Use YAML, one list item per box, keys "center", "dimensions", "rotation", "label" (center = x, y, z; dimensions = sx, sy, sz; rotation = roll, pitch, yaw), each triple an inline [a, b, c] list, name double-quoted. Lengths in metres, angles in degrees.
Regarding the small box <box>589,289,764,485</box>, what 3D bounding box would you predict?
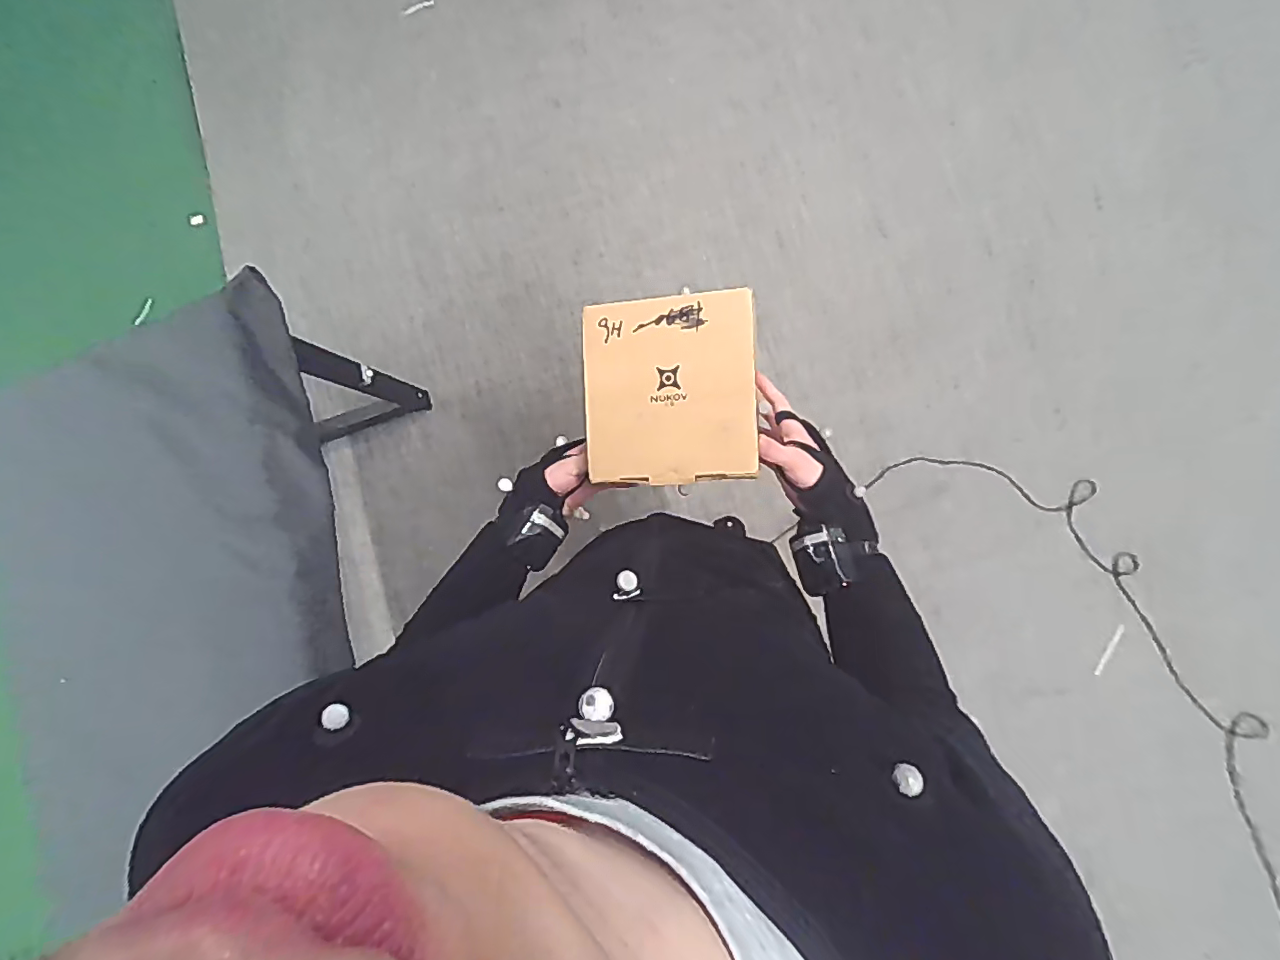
- center: [0.049, -0.087, 0.587]
  dimensions: [0.168, 0.176, 0.179]
  rotation: [-2, 90, 11]
  label: "small box"
